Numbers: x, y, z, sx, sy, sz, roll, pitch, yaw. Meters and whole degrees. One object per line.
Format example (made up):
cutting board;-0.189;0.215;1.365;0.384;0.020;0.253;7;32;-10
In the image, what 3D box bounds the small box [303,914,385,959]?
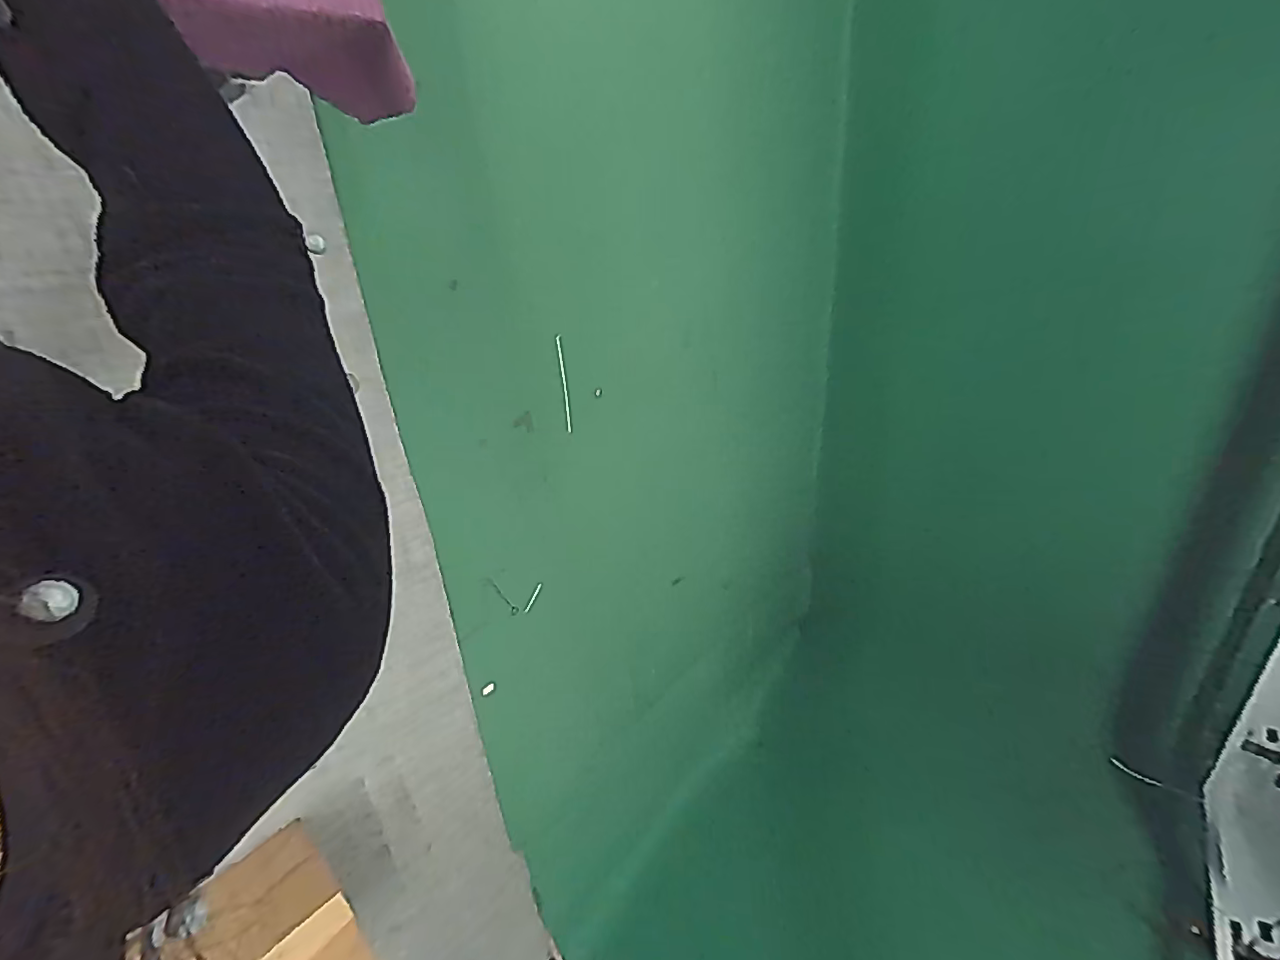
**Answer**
small box;-0.765;1.295;1.397;0.179;0.176;0.168;-31;128;-42
